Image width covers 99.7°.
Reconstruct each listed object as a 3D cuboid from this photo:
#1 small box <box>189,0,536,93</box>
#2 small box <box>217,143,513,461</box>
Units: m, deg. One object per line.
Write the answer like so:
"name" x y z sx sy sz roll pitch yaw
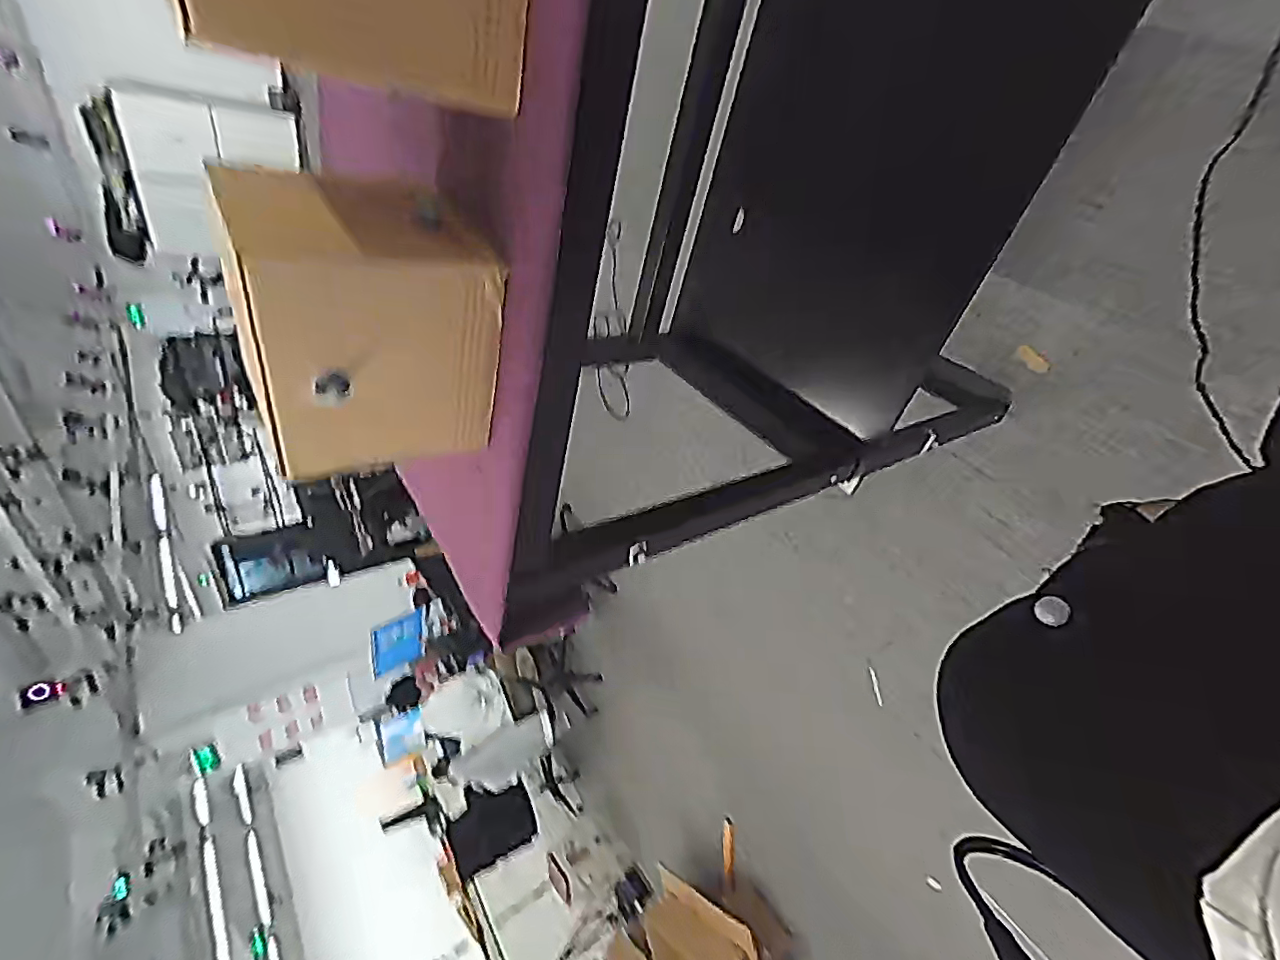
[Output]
"small box" -0.160 -0.345 0.297 0.168 0.176 0.179 46 137 36
"small box" -0.219 -0.142 0.445 0.168 0.176 0.179 50 136 32
